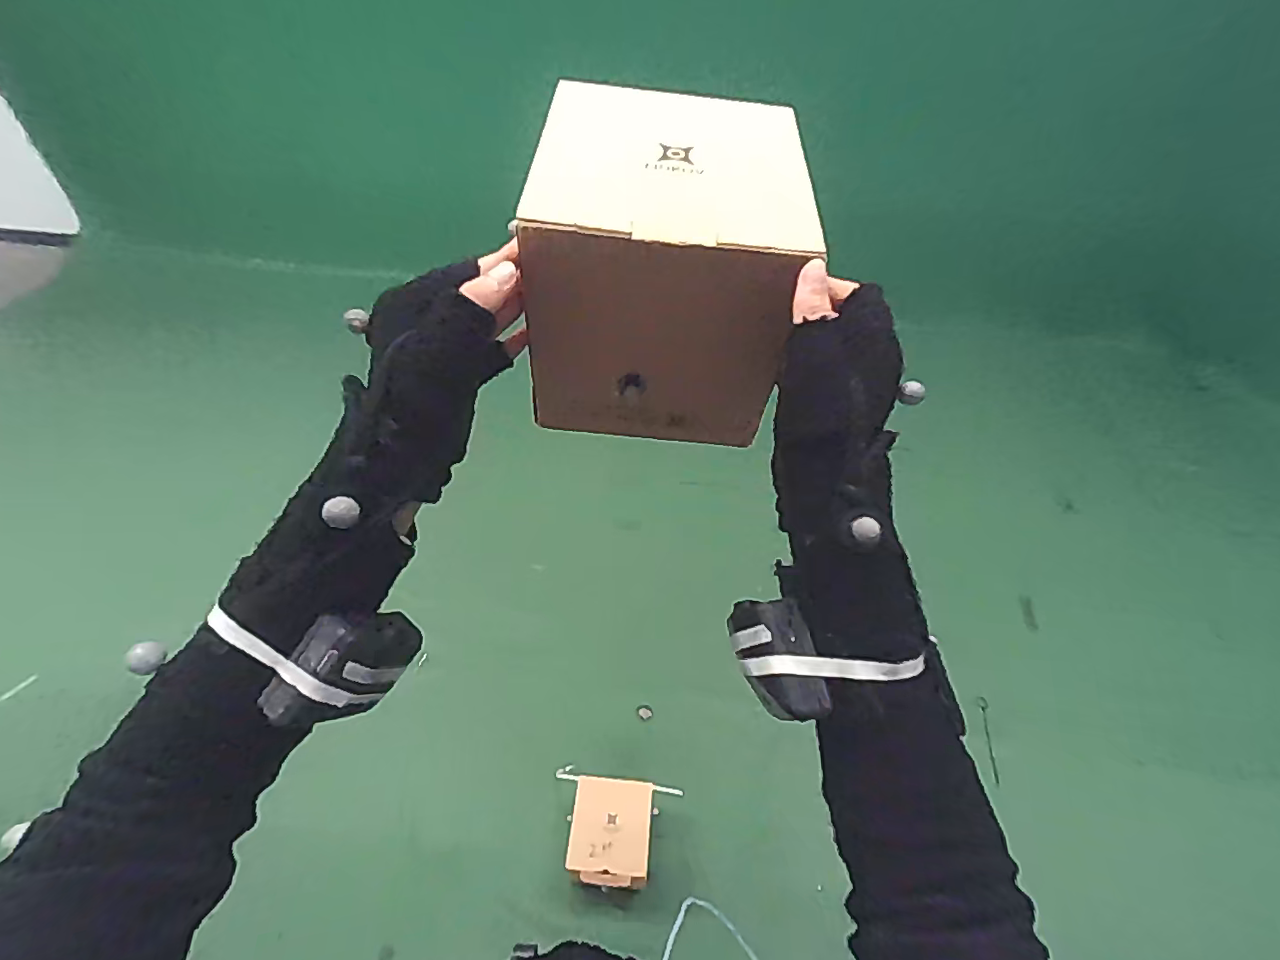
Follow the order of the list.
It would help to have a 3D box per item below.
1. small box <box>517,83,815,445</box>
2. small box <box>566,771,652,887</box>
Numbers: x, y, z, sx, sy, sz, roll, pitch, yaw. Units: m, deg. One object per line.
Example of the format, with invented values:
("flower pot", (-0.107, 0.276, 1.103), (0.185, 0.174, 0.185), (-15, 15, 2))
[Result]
("small box", (0.010, -0.151, 0.400), (0.168, 0.176, 0.179), (6, 57, -4))
("small box", (-0.066, 0.773, 1.197), (0.168, 0.176, 0.179), (6, 46, 2))
